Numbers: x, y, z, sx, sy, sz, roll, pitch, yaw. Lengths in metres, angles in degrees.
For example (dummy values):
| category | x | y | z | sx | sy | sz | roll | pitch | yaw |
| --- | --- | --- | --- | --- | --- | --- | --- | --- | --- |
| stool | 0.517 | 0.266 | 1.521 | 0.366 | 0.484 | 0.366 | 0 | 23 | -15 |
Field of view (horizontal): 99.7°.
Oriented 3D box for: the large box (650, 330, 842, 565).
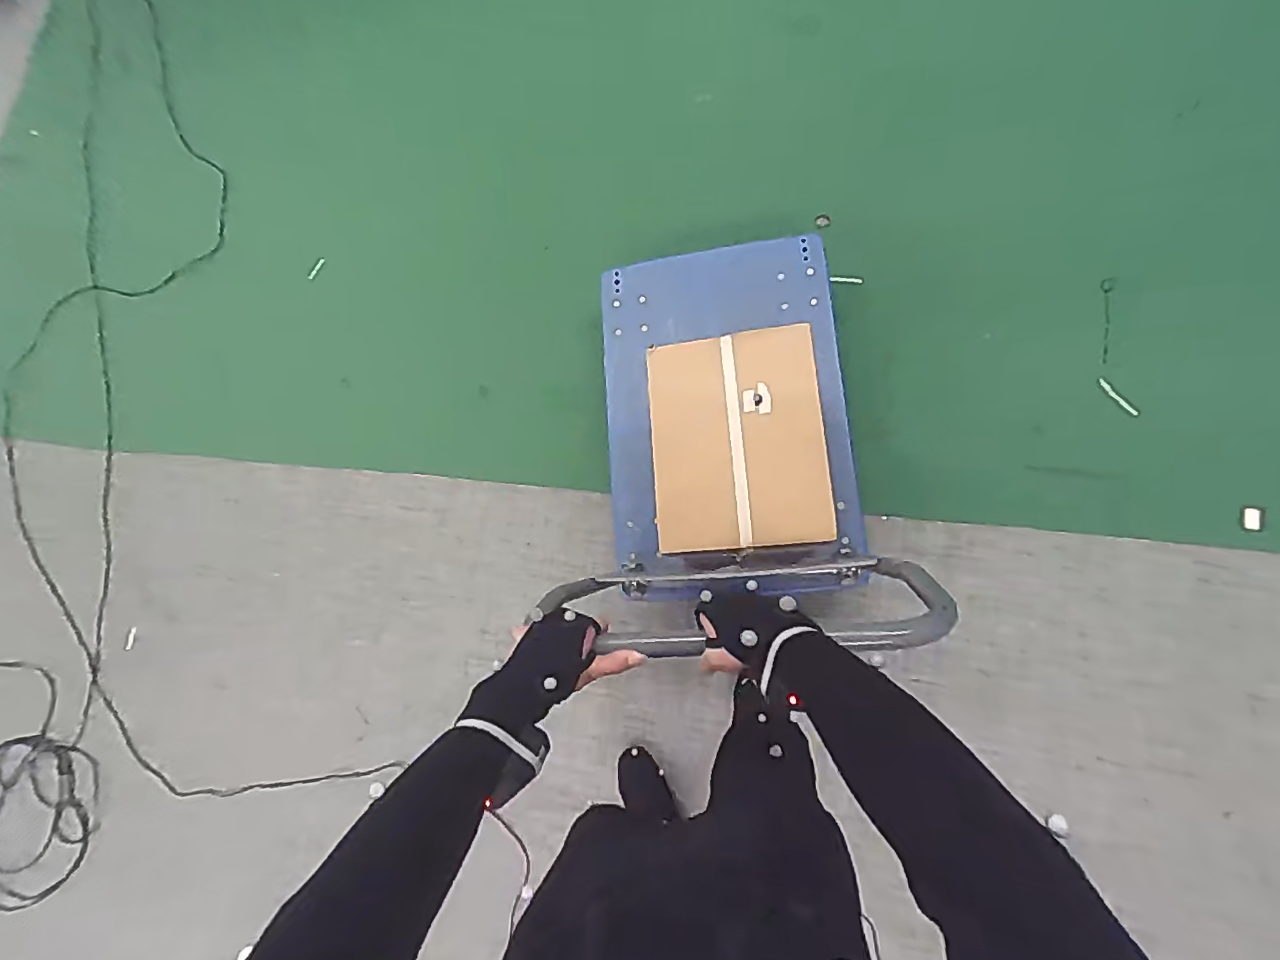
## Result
| category | x | y | z | sx | sy | sz | roll | pitch | yaw |
| --- | --- | --- | --- | --- | --- | --- | --- | --- | --- |
| large box | 0.213 | -0.040 | 1.130 | 0.320 | 0.320 | 0.408 | -6 | 78 | 11 |
